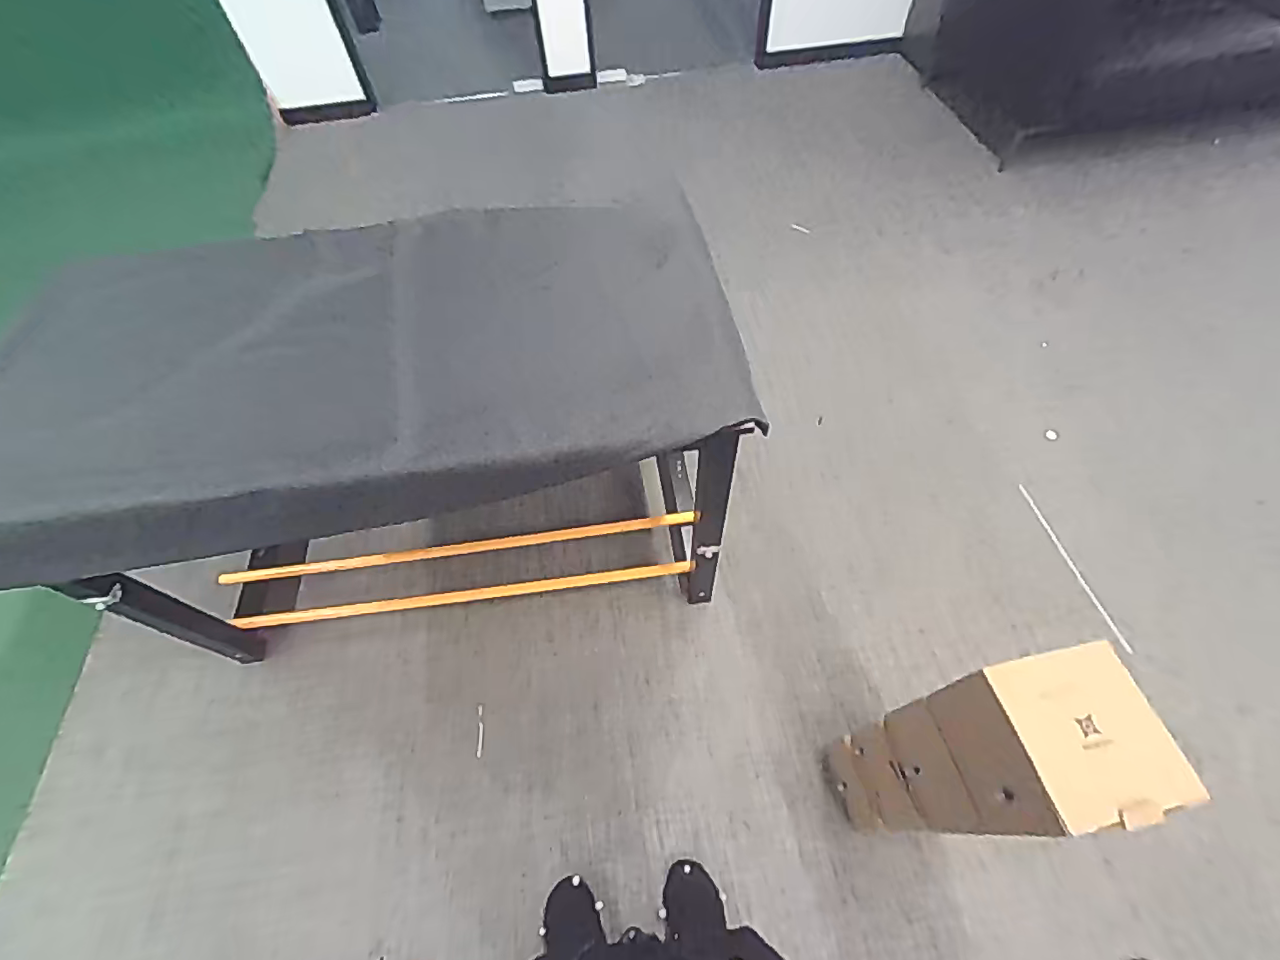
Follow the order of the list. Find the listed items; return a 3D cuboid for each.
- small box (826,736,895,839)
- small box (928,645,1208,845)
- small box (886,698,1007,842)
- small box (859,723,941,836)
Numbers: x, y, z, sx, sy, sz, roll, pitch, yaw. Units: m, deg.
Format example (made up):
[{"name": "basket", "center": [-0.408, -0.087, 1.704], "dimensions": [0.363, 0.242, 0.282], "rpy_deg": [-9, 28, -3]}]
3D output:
[{"name": "small box", "center": [0.499, 0.597, 1.077], "dimensions": [0.179, 0.176, 0.168], "rpy_deg": [-13, 56, -5]}, {"name": "small box", "center": [0.499, 0.328, 0.667], "dimensions": [0.168, 0.176, 0.179], "rpy_deg": [-11, 56, -5]}, {"name": "small box", "center": [0.502, 0.415, 0.804], "dimensions": [0.168, 0.176, 0.179], "rpy_deg": [-11, 58, -5]}, {"name": "small box", "center": [0.504, 0.506, 0.940], "dimensions": [0.179, 0.176, 0.168], "rpy_deg": [-11, 57, -6]}]
